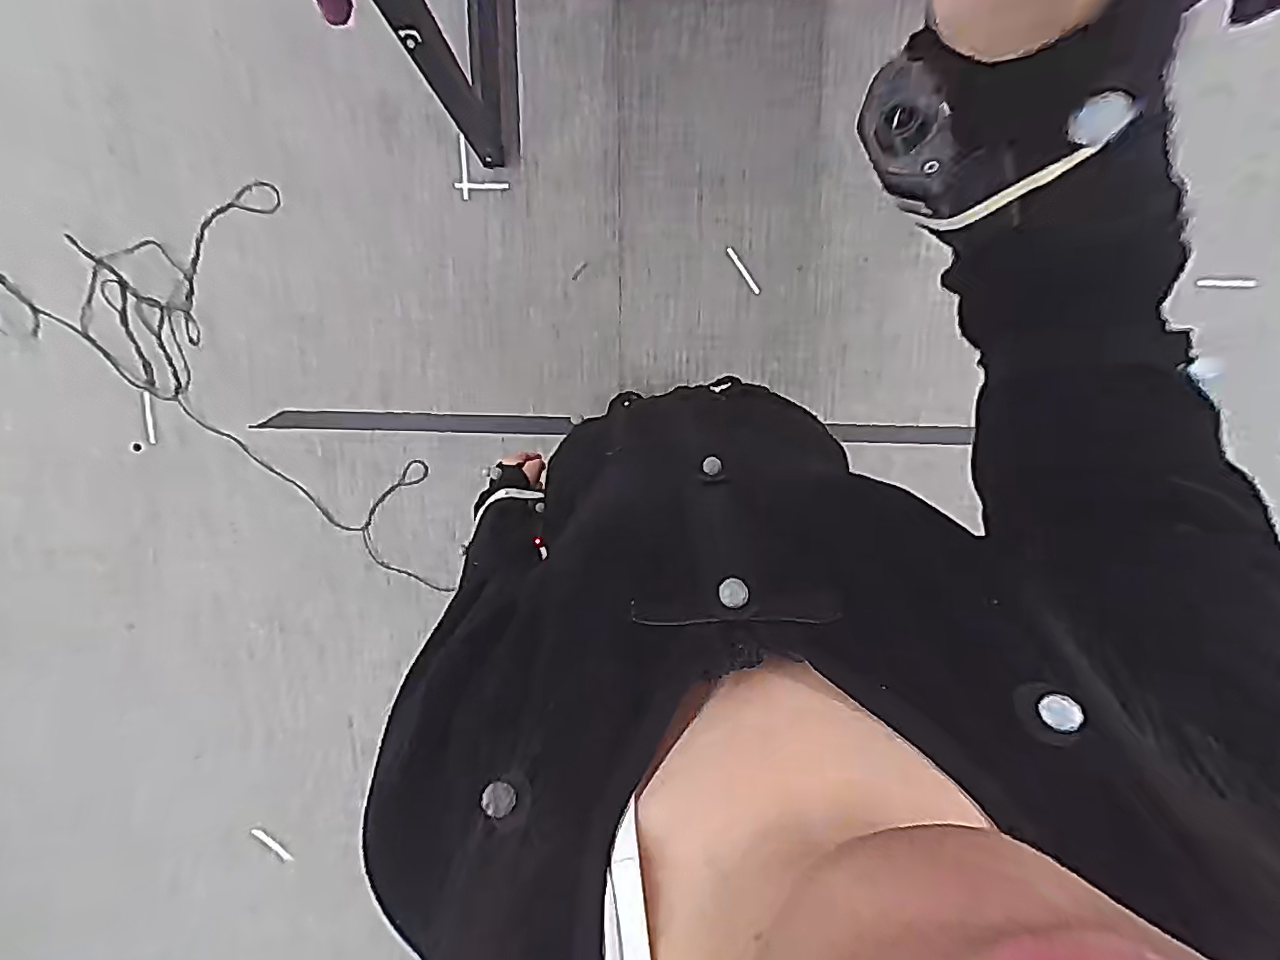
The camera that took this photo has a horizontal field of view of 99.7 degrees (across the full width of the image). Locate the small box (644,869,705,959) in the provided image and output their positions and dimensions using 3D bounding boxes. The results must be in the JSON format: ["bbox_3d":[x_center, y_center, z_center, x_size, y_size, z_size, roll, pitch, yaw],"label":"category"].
[{"bbox_3d":[0.099,1.308,1.619,0.168,0.176,0.179,3,100,0],"label":"small box"}]
